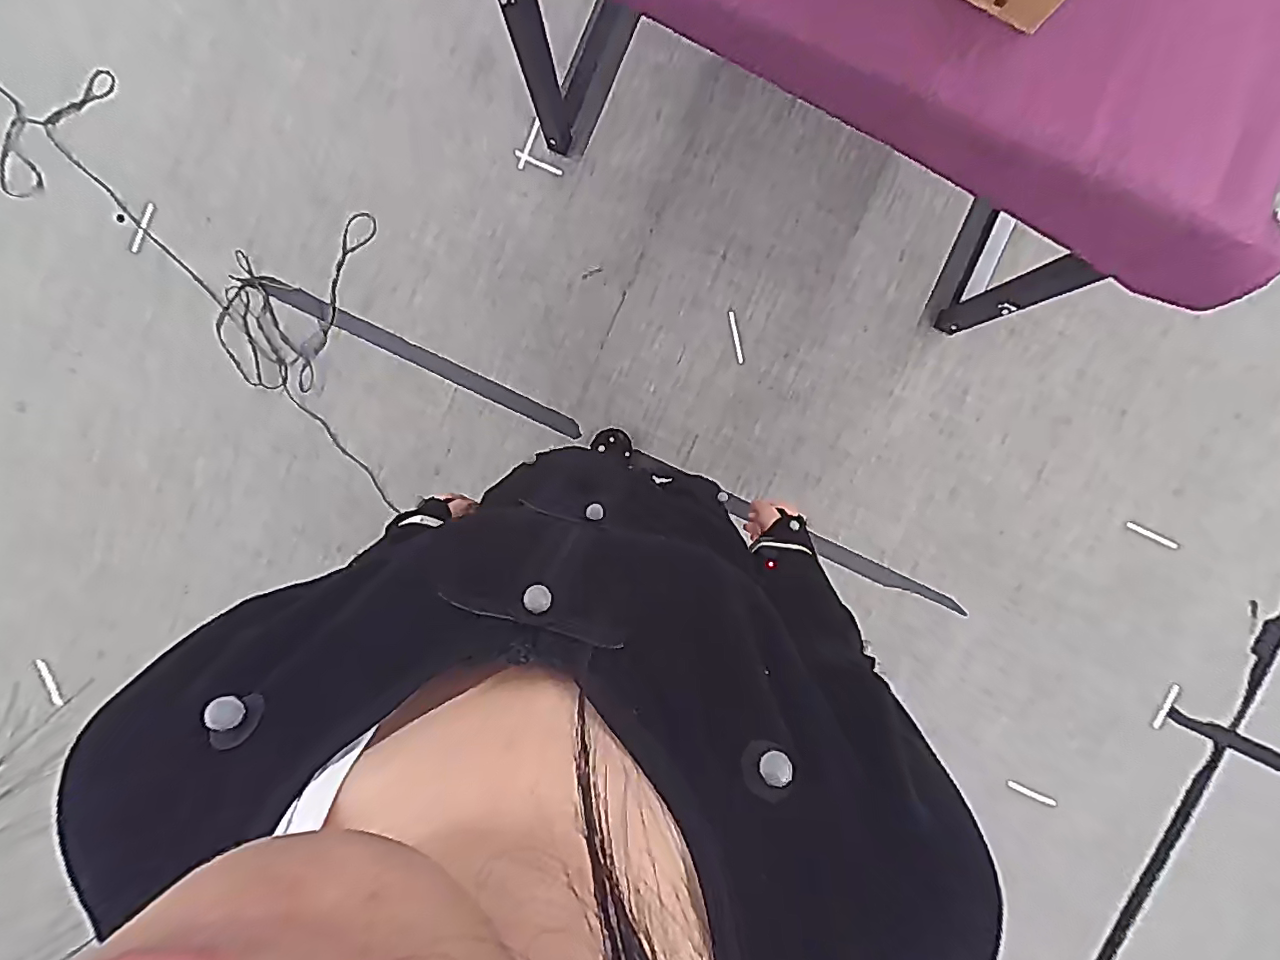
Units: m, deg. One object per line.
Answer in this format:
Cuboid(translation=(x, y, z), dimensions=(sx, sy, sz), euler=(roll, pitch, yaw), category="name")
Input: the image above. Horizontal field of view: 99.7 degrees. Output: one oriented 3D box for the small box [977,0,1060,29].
Cuboid(translation=(0.483, -0.694, 0.630), dimensions=(0.168, 0.176, 0.179), euler=(28, 93, -2), category="small box")
